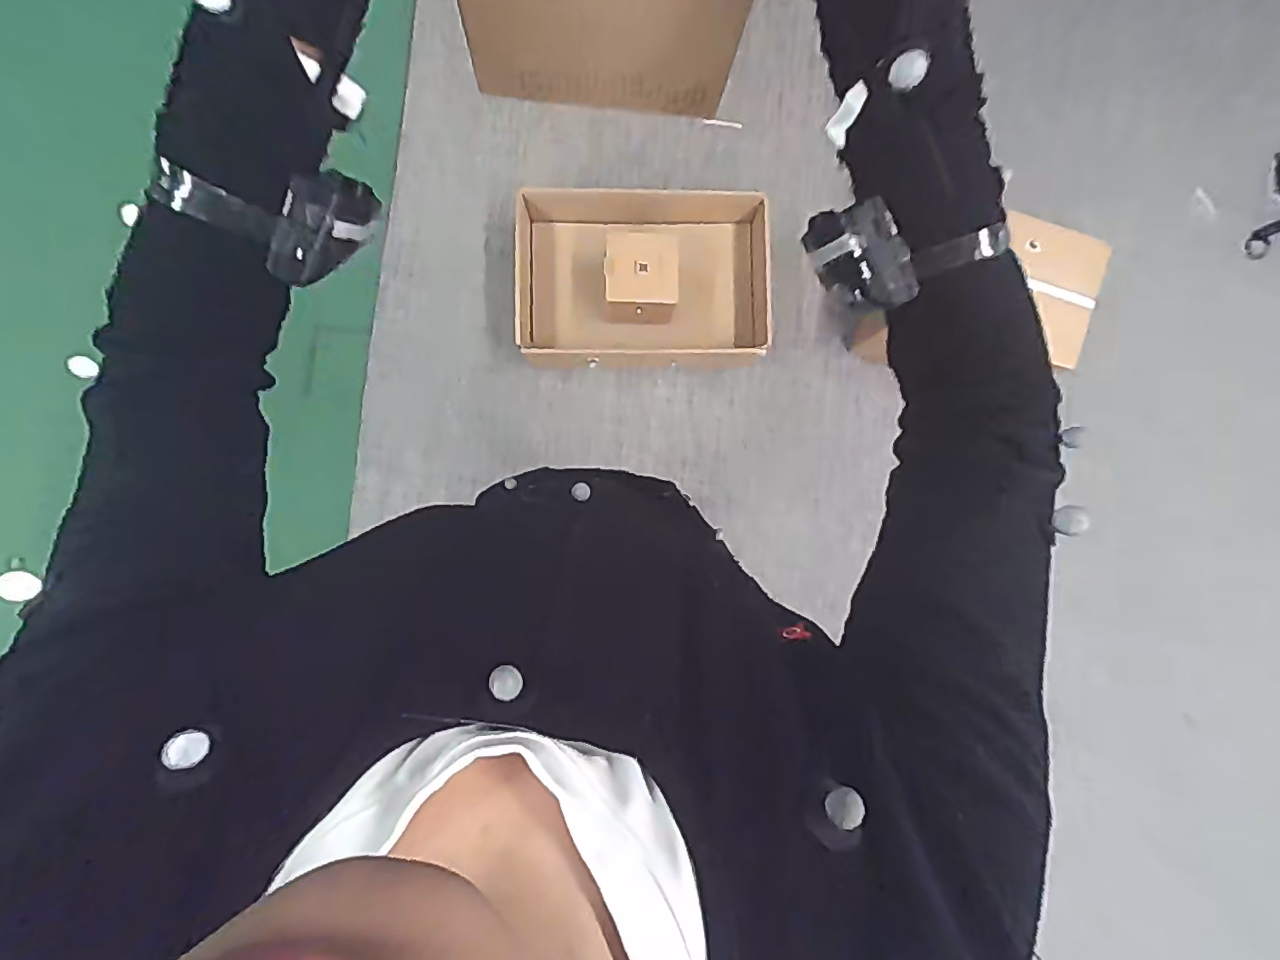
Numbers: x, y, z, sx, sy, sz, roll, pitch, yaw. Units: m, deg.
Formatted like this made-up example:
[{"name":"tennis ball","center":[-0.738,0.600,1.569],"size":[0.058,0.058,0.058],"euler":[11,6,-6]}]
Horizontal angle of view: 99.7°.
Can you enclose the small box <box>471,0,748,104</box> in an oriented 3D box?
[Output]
[{"name":"small box","center":[-0.015,-0.365,0.322],"size":[0.179,0.176,0.168],"euler":[2,85,-6]}]

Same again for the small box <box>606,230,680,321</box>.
[{"name":"small box","center":[0.004,-0.509,1.366],"size":[0.179,0.176,0.168],"euler":[1,89,-4]}]
